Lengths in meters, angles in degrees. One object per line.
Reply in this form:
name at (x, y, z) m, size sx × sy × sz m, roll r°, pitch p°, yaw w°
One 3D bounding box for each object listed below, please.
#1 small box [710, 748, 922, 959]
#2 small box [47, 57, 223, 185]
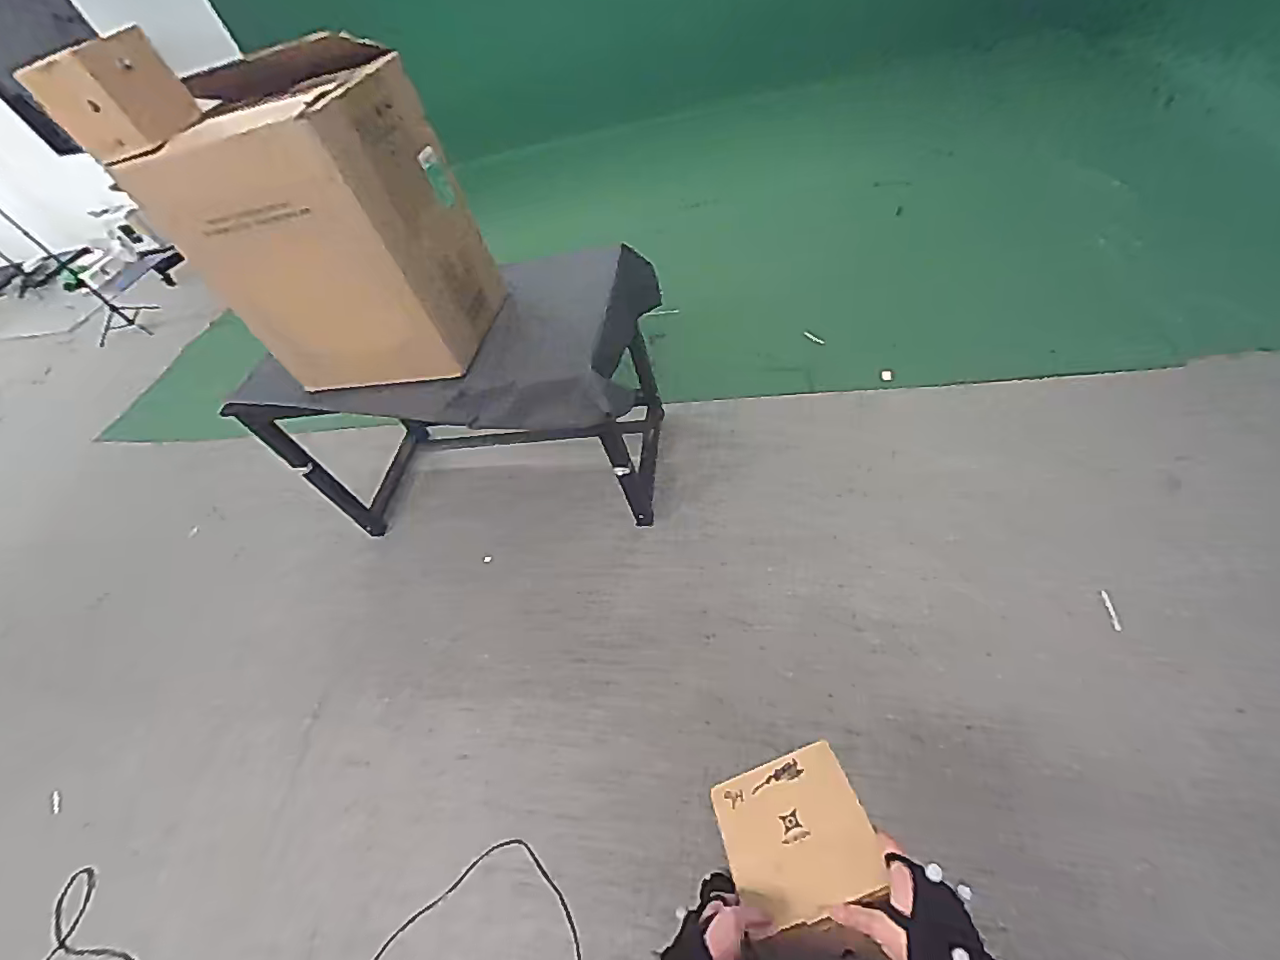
small box at (0.208, 0.476, 0.655) m, size 0.168 × 0.176 × 0.179 m, roll -26°, pitch 24°, yaw 5°
small box at (-1.042, -0.743, 1.135) m, size 0.168 × 0.176 × 0.179 m, roll -2°, pitch 50°, yaw 18°
